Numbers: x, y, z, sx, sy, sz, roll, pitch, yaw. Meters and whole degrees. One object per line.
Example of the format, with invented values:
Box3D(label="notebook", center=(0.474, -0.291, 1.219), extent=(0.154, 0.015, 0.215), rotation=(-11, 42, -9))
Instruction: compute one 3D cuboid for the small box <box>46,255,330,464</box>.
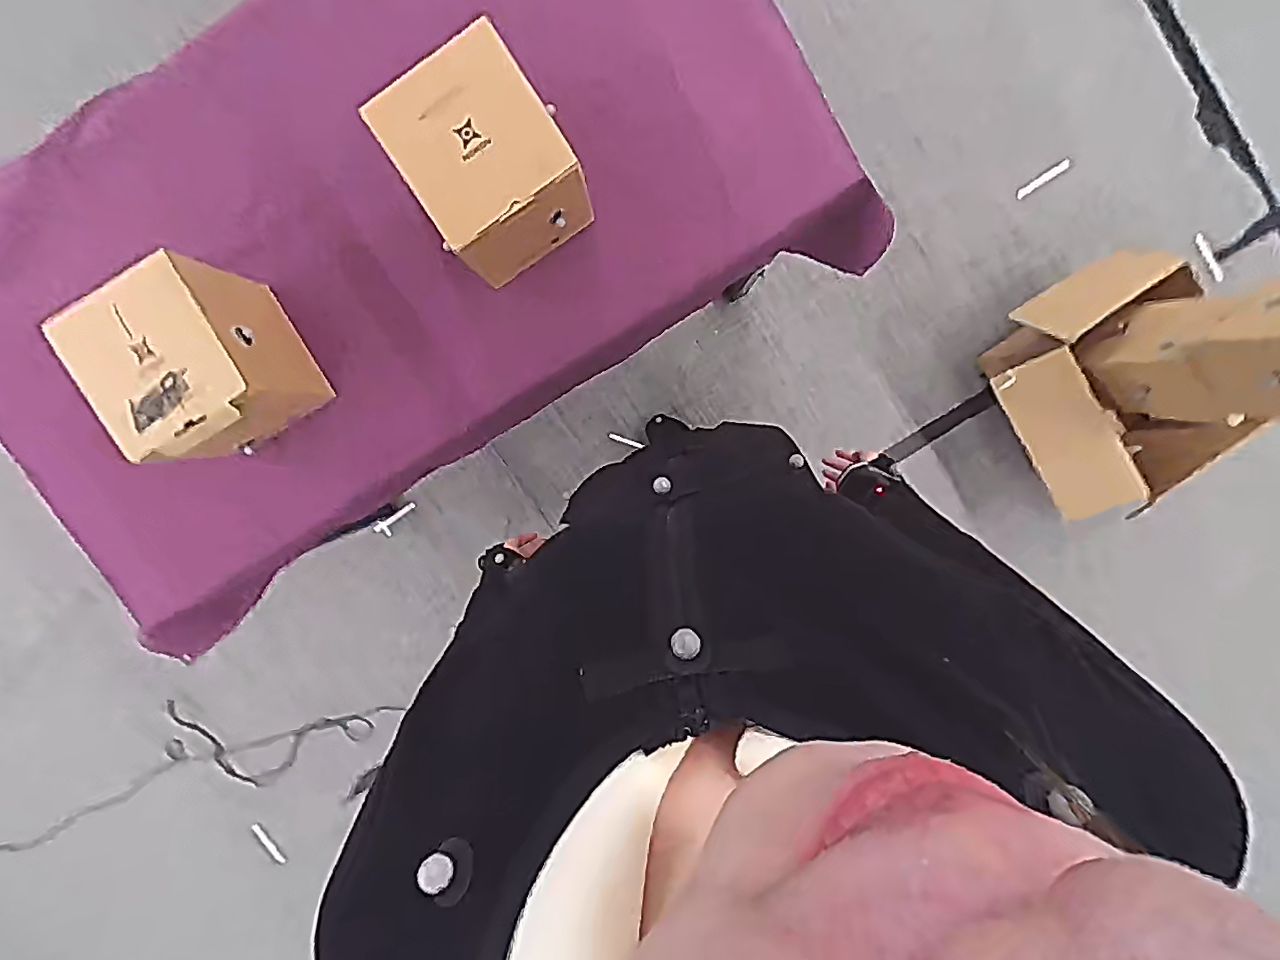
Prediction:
Box3D(label="small box", center=(-0.534, -0.139, 0.671), extent=(0.168, 0.176, 0.179), rotation=(-30, 95, 3))

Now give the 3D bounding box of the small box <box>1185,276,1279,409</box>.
Box3D(label="small box", center=(1.062, -0.224, 0.873), extent=(0.168, 0.176, 0.179), rotation=(-40, 98, 9))

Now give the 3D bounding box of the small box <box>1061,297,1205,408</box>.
Box3D(label="small box", center=(1.101, -0.275, 1.198), extent=(0.179, 0.176, 0.168), rotation=(35, 99, -7))

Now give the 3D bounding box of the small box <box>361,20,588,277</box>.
Box3D(label="small box", center=(-0.178, -0.366, 0.645), extent=(0.168, 0.176, 0.179), rotation=(-34, 95, 3))
